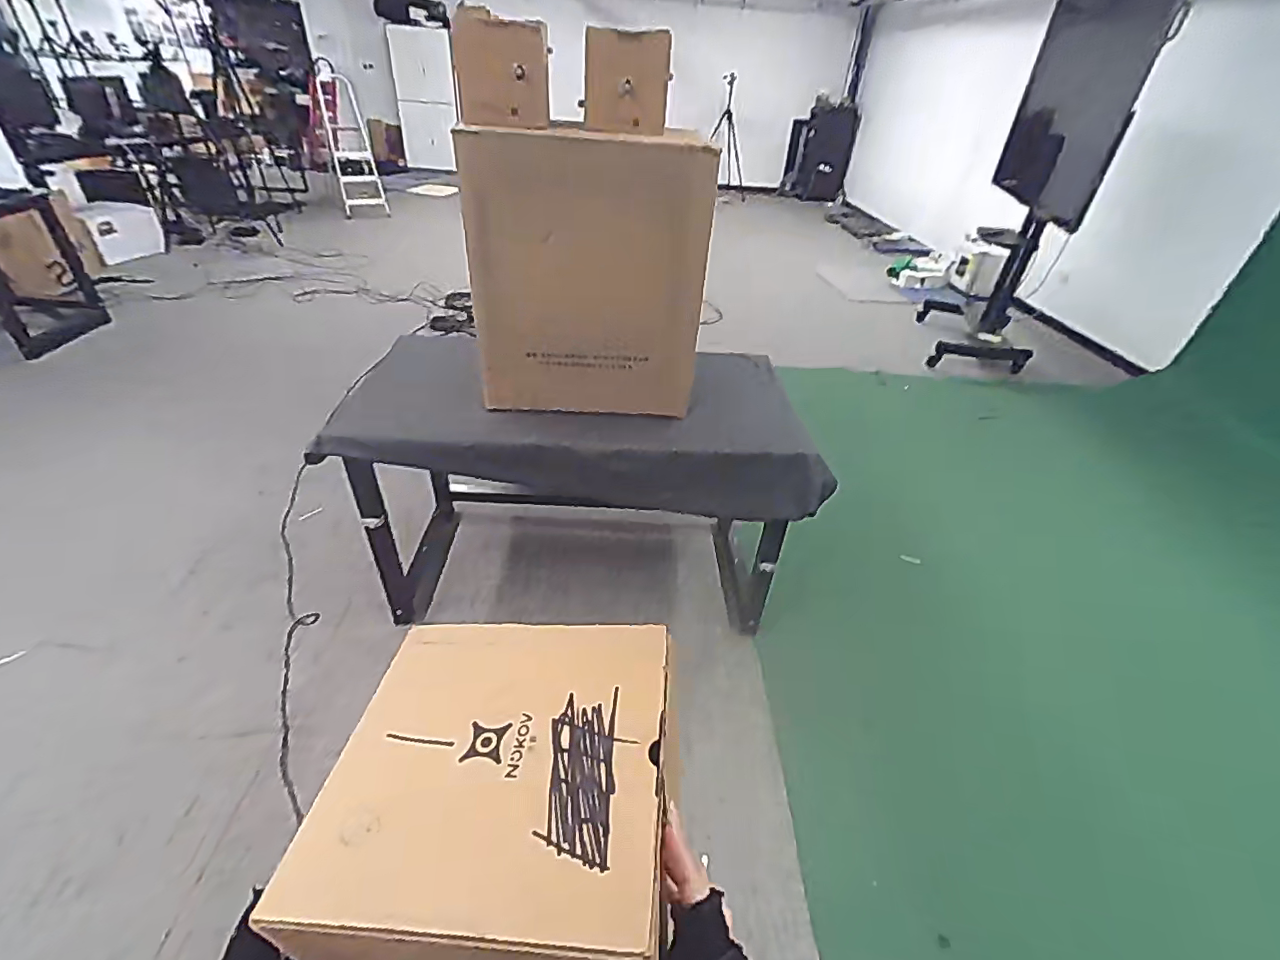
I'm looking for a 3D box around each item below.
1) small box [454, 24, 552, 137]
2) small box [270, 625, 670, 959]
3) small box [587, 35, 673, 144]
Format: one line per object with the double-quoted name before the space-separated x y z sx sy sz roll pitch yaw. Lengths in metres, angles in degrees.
"small box" -0.265 -0.803 1.092 0.168 0.176 0.179 0 37 -7
"small box" -0.070 0.213 0.341 0.179 0.176 0.168 -1 34 3
"small box" -0.024 -0.808 1.121 0.168 0.176 0.179 2 39 -4
